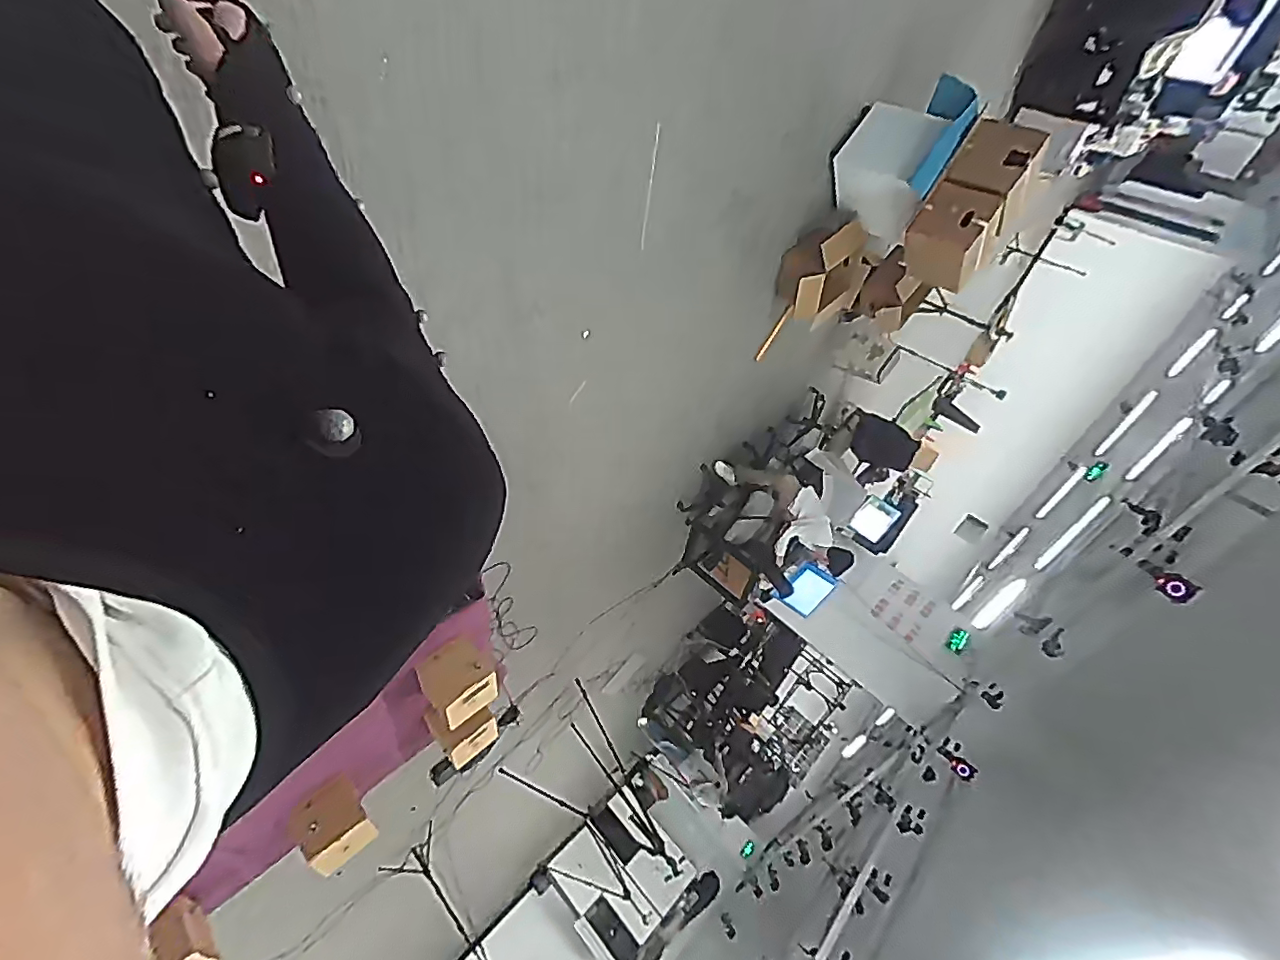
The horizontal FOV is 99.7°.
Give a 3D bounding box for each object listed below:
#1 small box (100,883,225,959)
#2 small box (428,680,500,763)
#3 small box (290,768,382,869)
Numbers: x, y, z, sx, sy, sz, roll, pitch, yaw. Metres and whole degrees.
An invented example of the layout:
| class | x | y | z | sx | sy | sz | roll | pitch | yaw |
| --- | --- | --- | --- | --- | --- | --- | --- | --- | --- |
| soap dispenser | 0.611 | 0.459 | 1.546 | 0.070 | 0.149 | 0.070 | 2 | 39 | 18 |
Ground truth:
| class | x | y | z | sx | sy | sz | roll | pitch | yaw |
| --- | --- | --- | --- | --- | --- | --- | --- | --- | --- |
| small box | -1.186 | 1.156 | 1.347 | 0.168 | 0.176 | 0.179 | -30 | 146 | -36 |
| small box | -0.596 | 0.811 | 1.834 | 0.168 | 0.176 | 0.179 | -31 | 147 | -33 |
| small box | -0.897 | 0.992 | 1.597 | 0.168 | 0.176 | 0.179 | -30 | 146 | -35 |
